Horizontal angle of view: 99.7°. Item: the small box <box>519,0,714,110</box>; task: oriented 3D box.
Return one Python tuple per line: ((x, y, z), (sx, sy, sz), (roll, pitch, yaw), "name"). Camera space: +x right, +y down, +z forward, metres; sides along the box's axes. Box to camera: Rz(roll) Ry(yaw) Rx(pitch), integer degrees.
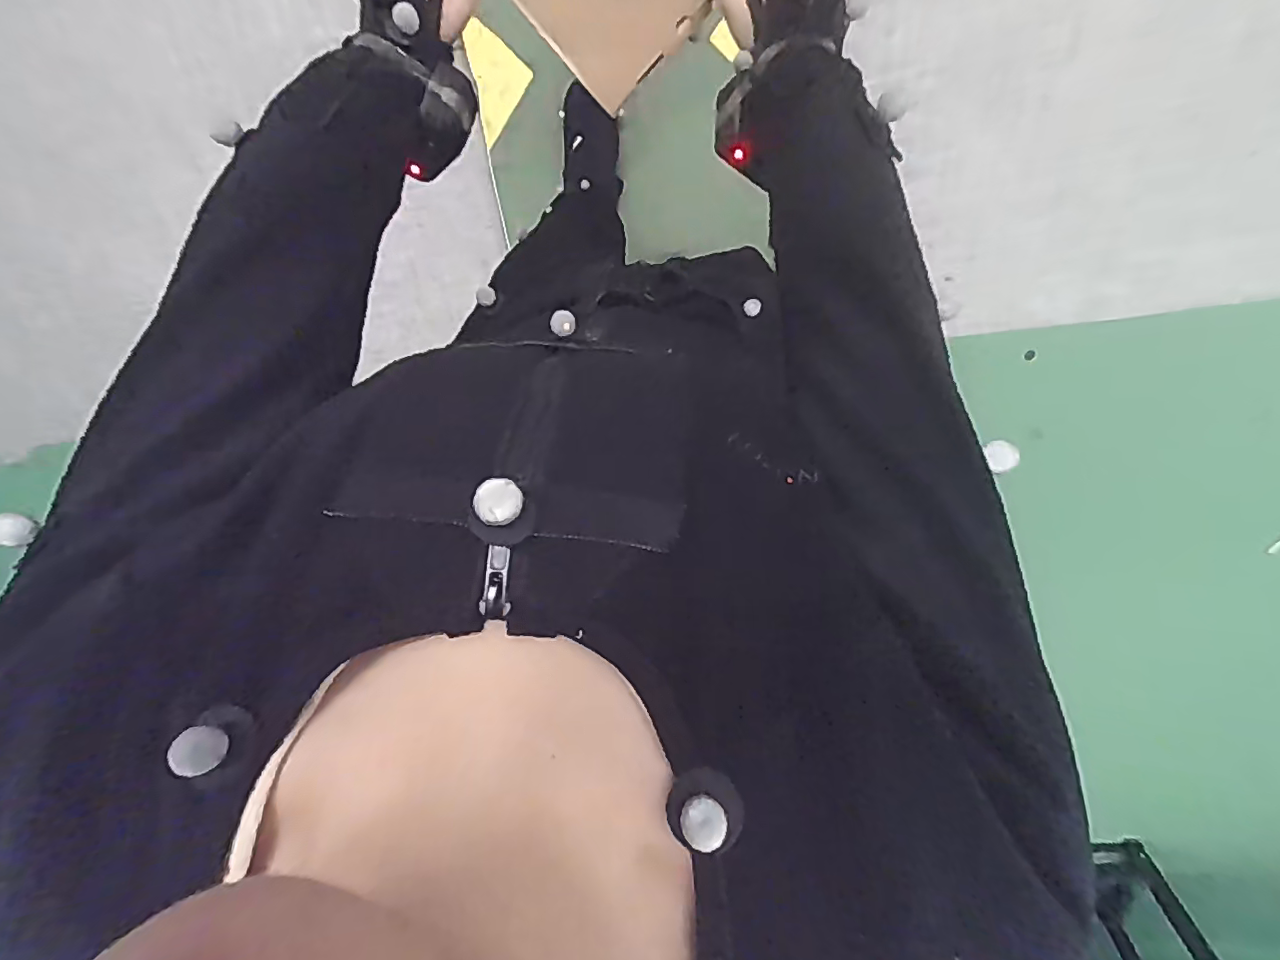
((-0.018, -0.447, 0.425), (0.168, 0.176, 0.179), (-33, 123, 31), "small box")
